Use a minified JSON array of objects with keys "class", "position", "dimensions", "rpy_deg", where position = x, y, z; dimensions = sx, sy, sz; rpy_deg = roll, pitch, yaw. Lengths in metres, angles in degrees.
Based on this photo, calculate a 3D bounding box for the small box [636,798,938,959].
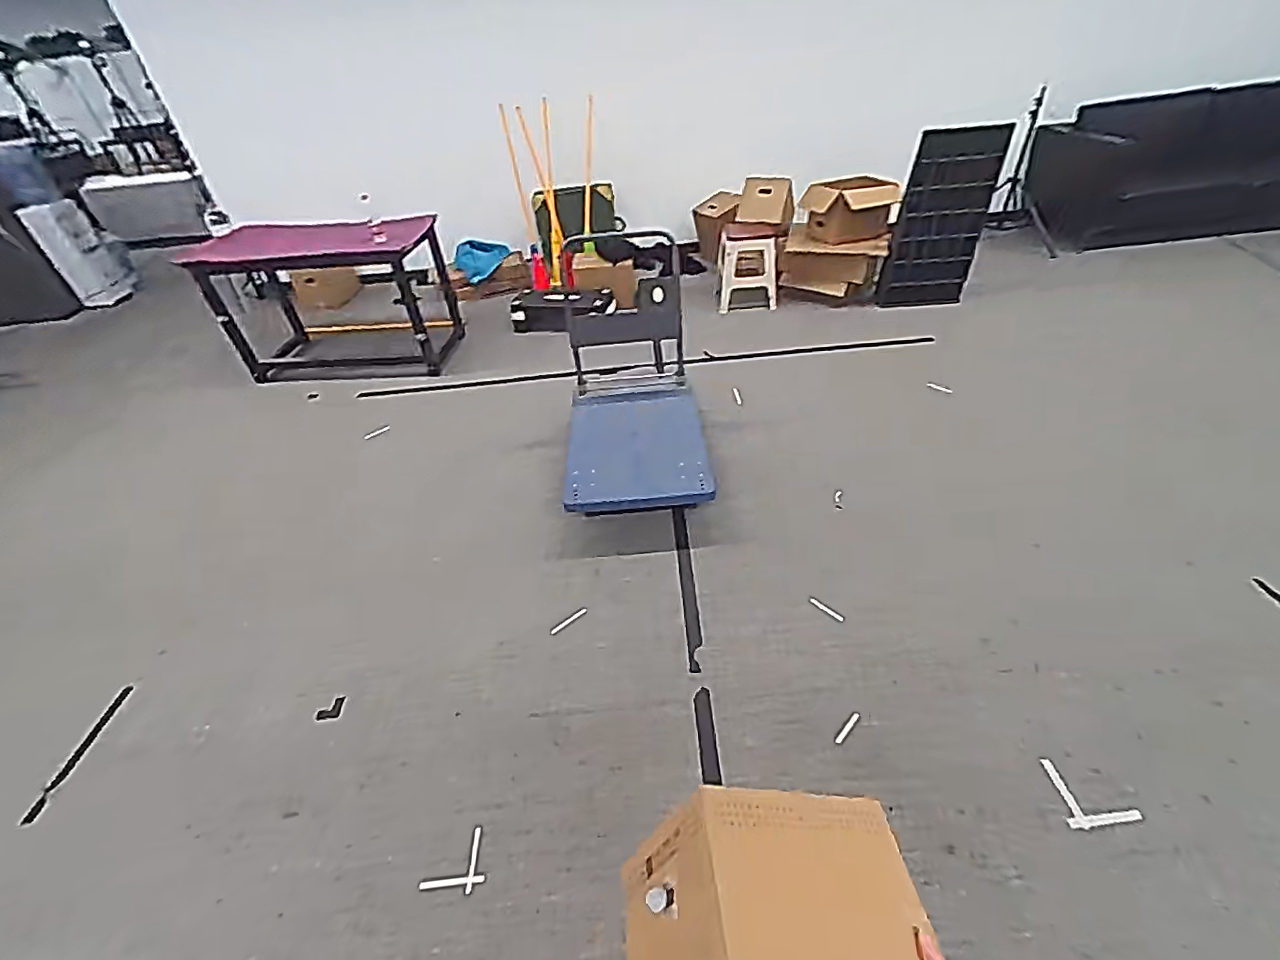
[{"class":"small box","position":[0.109,0.367,0.413],"dimensions":[0.179,0.168,0.176],"rpy_deg":[16,34,-17]}]
